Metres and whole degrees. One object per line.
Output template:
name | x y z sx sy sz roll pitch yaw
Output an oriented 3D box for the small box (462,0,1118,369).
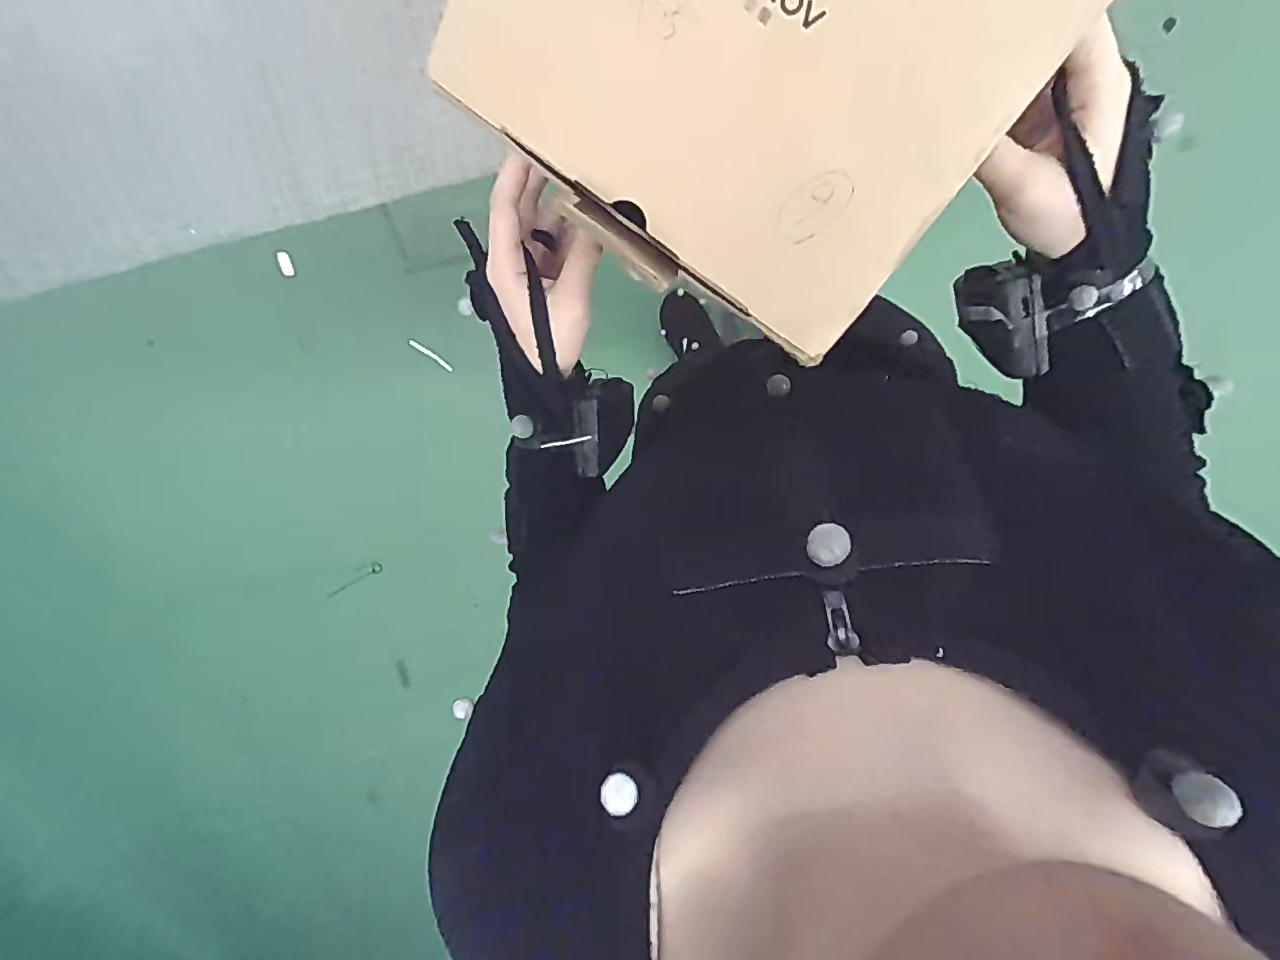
small box | 0.059 -0.177 0.246 0.168 0.176 0.179 35 110 -4
